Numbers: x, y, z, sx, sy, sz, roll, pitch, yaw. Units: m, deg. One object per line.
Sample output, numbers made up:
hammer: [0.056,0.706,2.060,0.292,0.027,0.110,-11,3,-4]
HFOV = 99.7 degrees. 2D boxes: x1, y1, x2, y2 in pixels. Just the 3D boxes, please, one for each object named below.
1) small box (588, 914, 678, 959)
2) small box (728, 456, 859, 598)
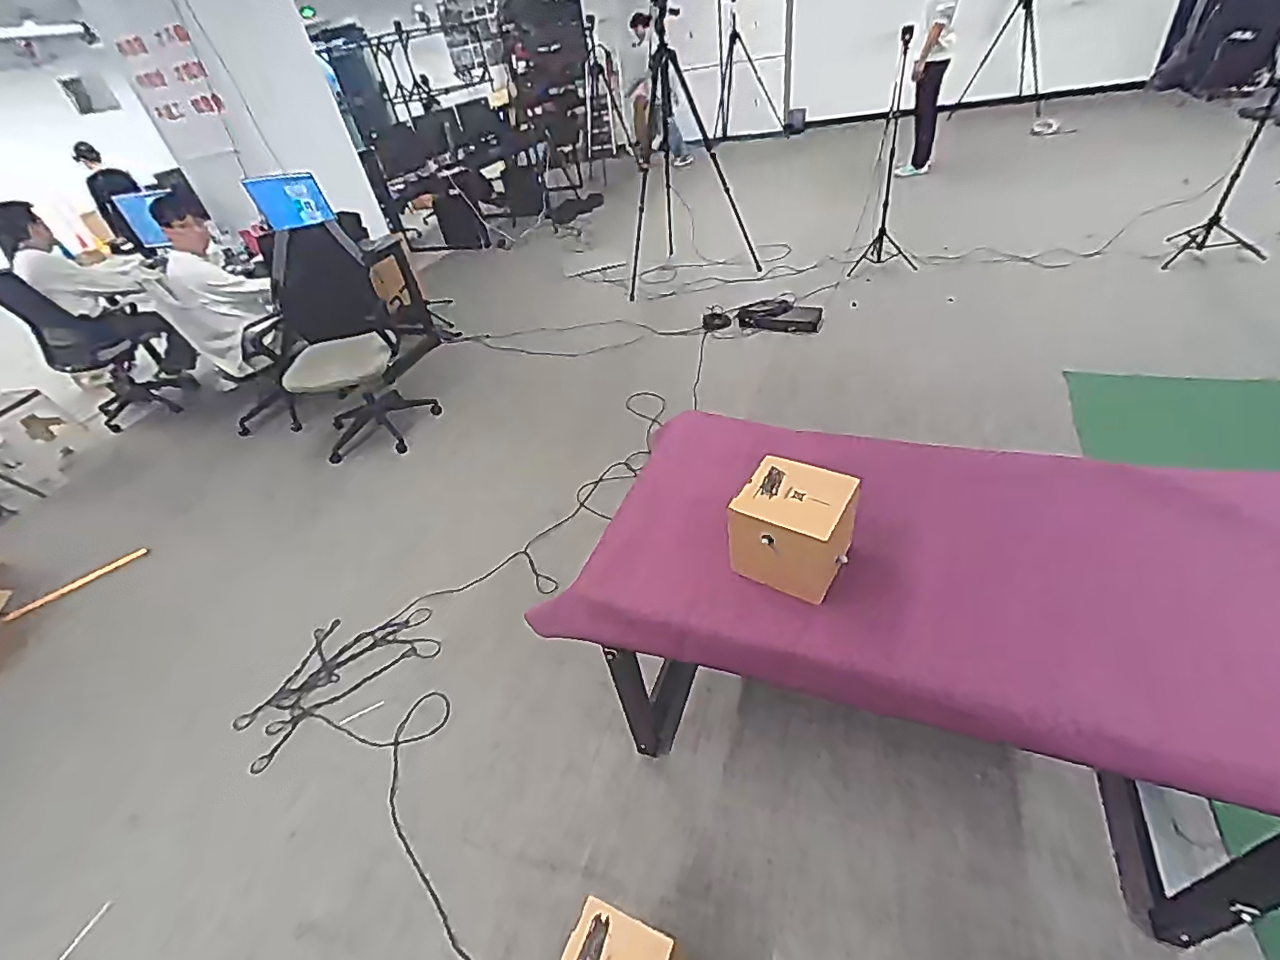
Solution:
small box: [-0.019,1.021,1.076,0.168,0.176,0.179,11,45,24]
small box: [0.276,0.086,0.984,0.179,0.176,0.168,19,48,30]
